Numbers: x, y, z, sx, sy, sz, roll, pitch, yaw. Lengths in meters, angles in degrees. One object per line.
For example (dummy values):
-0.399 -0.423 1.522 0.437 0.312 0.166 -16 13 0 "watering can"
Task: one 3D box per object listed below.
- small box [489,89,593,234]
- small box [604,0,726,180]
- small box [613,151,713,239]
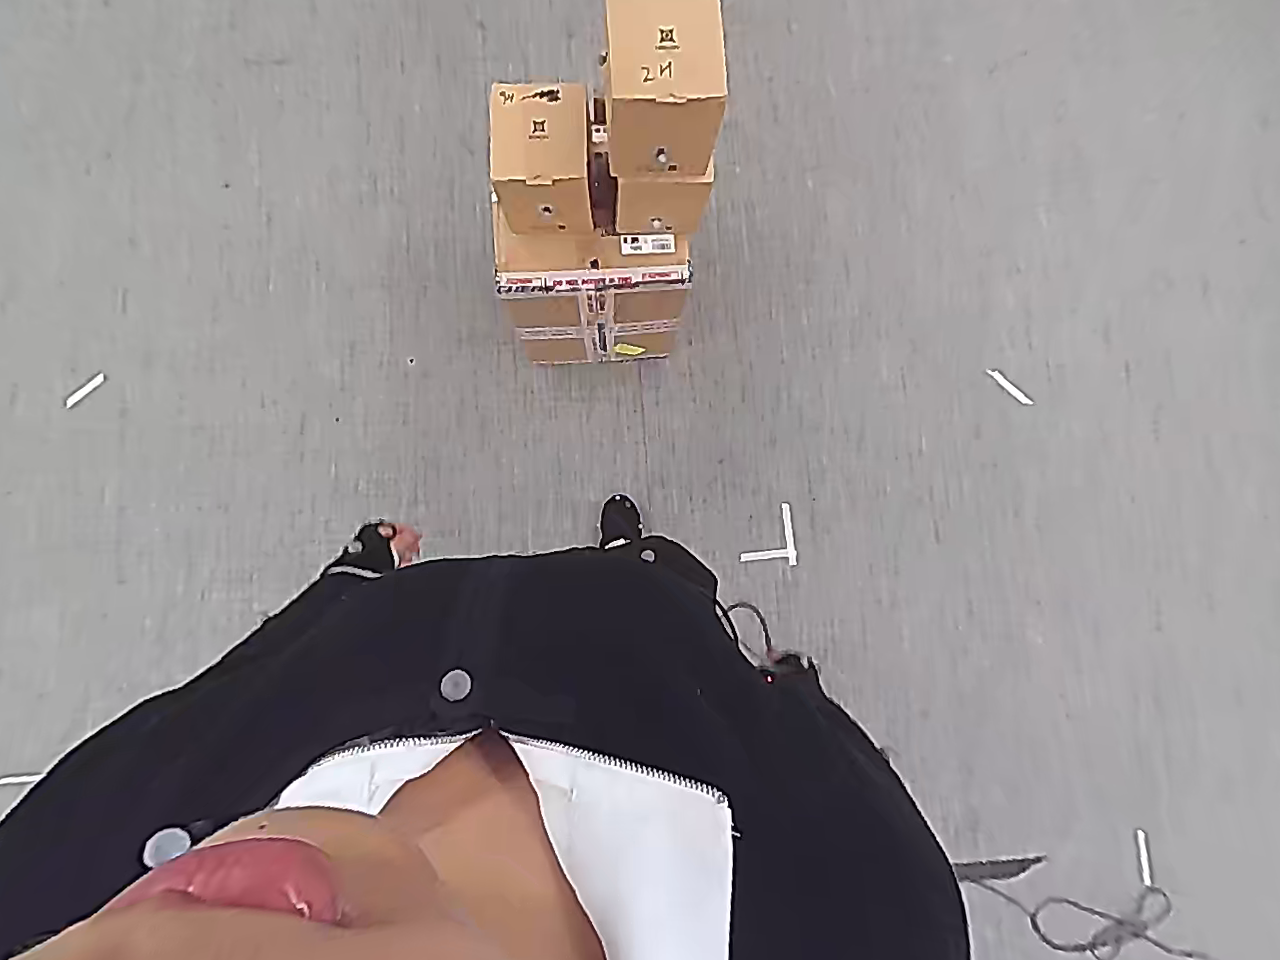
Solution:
-0.174 -0.574 0.995 0.168 0.176 0.179 -1 86 -1 "small box"
0.030 -0.603 0.842 0.168 0.176 0.179 -3 86 -4 "small box"
0.036 -0.577 1.006 0.168 0.176 0.179 -1 86 -4 "small box"
